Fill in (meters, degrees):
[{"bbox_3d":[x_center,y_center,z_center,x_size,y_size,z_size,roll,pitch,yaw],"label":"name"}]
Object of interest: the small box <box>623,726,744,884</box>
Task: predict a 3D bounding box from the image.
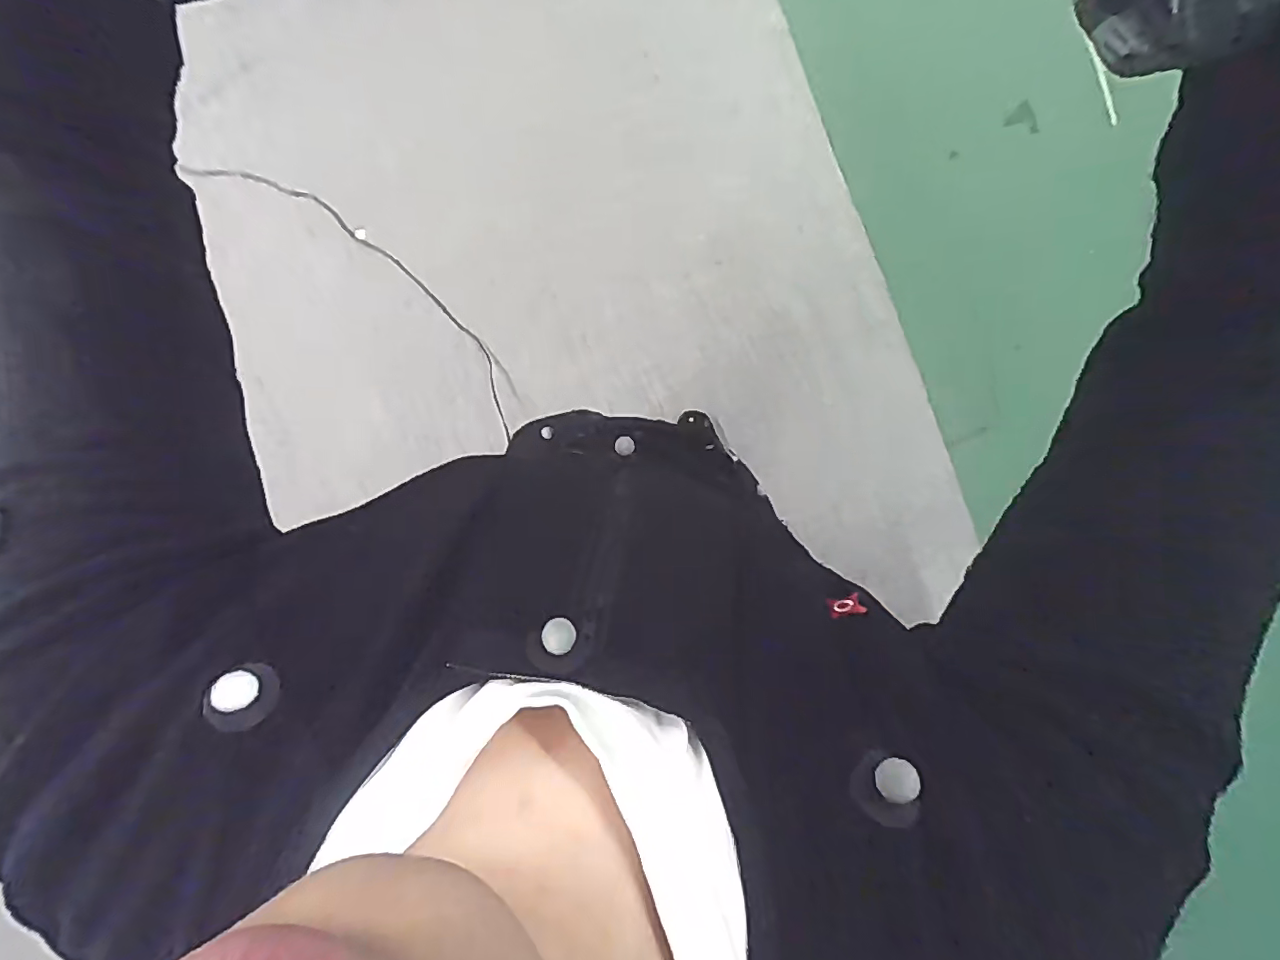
[{"bbox_3d":[0.077,0.590,1.010,0.168,0.176,0.179,-21,95,5],"label":"small box"}]
